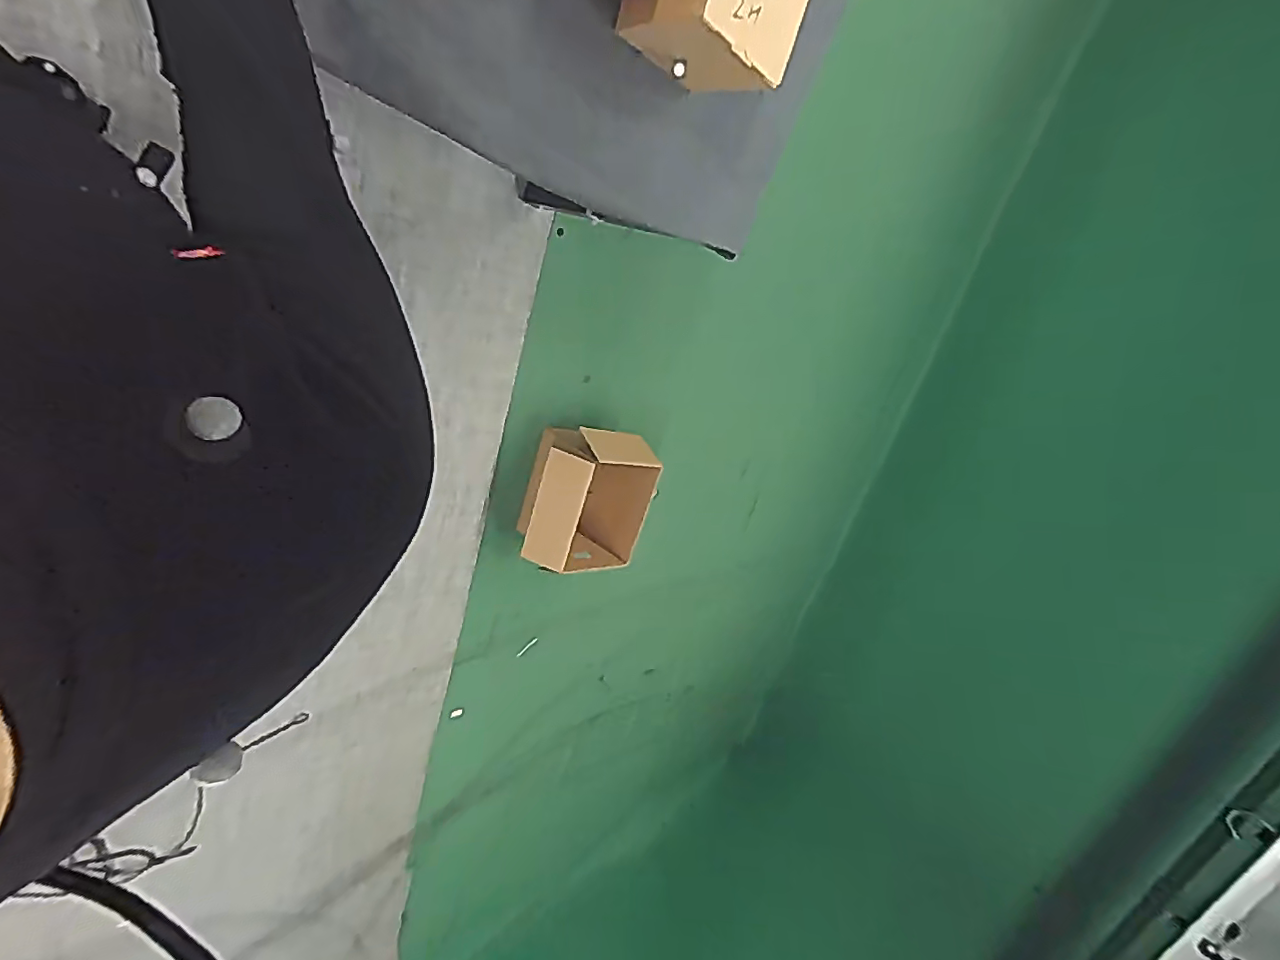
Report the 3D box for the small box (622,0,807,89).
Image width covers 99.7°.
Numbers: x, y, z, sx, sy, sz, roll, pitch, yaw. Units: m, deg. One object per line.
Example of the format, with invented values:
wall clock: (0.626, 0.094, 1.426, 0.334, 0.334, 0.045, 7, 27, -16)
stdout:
small box: (0.101, -0.644, 0.701, 0.168, 0.176, 0.179, 0, 116, -45)
